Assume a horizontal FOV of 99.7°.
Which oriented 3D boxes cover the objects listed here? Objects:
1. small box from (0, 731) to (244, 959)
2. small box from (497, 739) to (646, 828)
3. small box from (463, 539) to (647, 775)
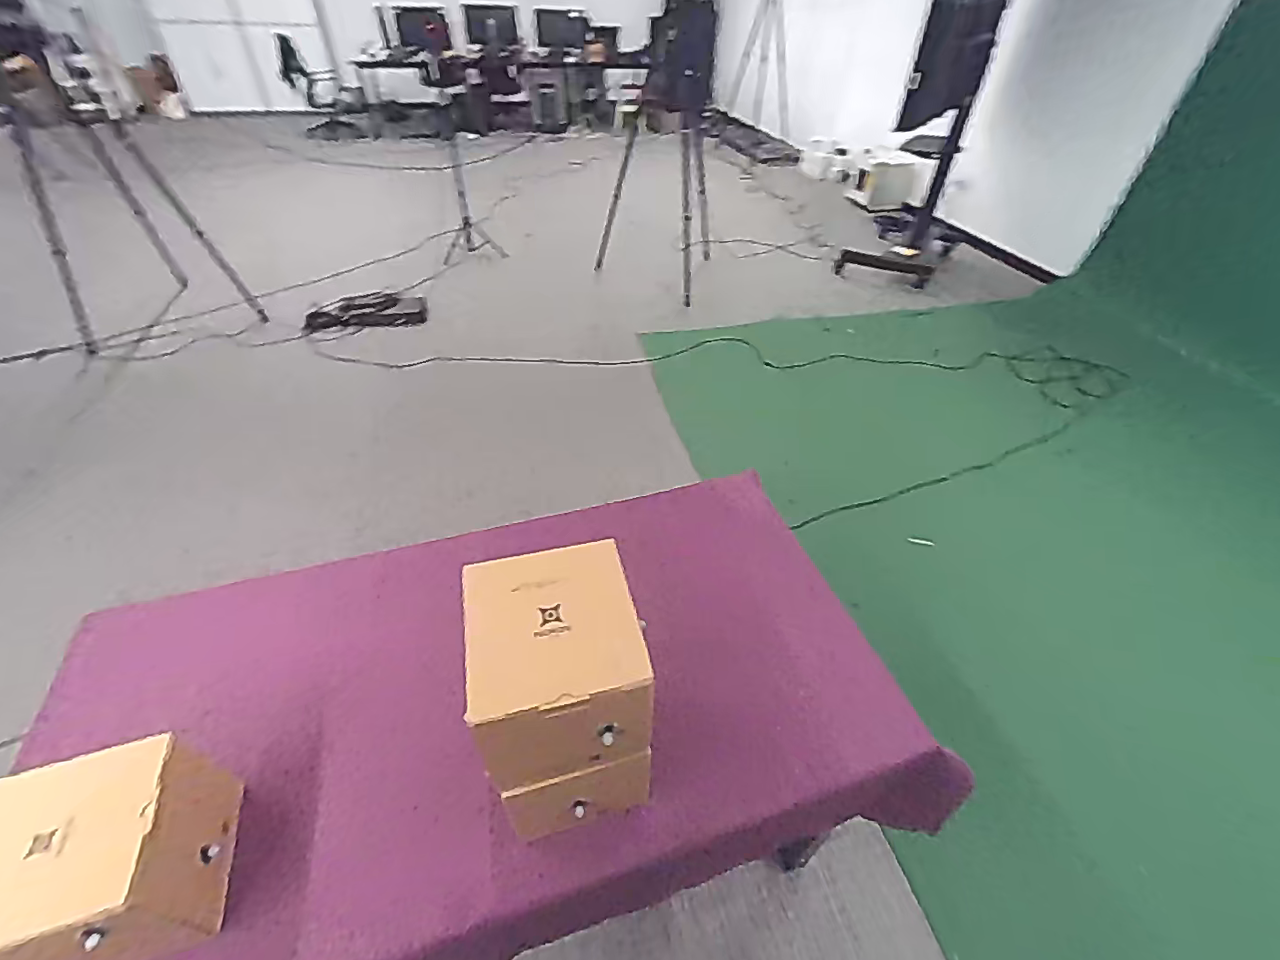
[{"bbox_3d":[-0.575,0.411,0.583,0.179,0.176,0.168,-12,44,-16],"label":"small box"},{"bbox_3d":[-0.093,0.318,0.695,0.168,0.176,0.179,-10,43,-13],"label":"small box"},{"bbox_3d":[-0.091,0.195,0.587,0.168,0.176,0.179,-9,43,-11],"label":"small box"}]
